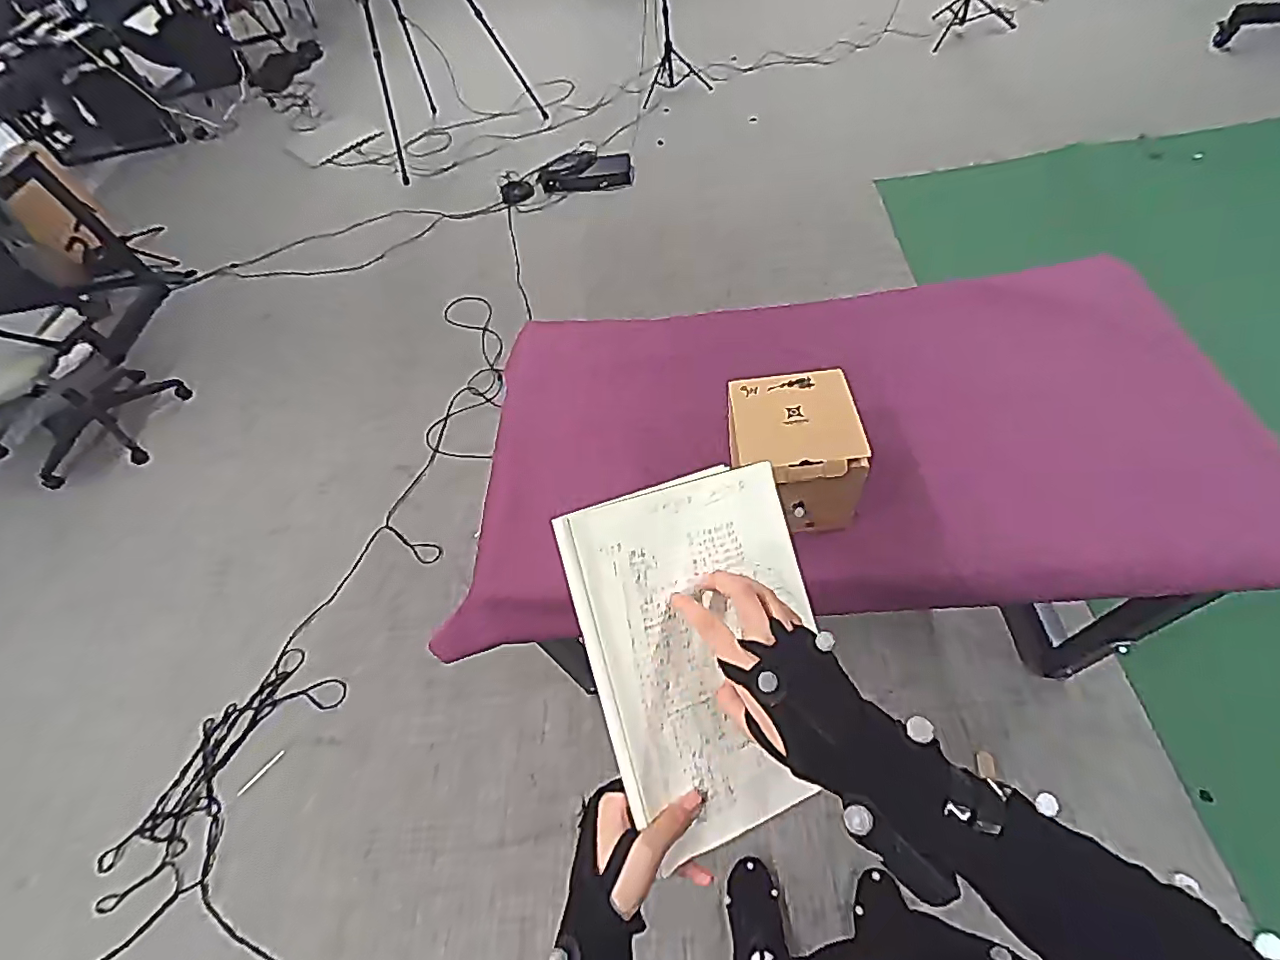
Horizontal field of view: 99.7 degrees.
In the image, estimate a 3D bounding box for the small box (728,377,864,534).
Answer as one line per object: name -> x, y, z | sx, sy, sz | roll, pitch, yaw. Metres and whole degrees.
small box -> 0.224, -0.028, 0.817 | 0.168, 0.176, 0.179 | -5, 55, 7
